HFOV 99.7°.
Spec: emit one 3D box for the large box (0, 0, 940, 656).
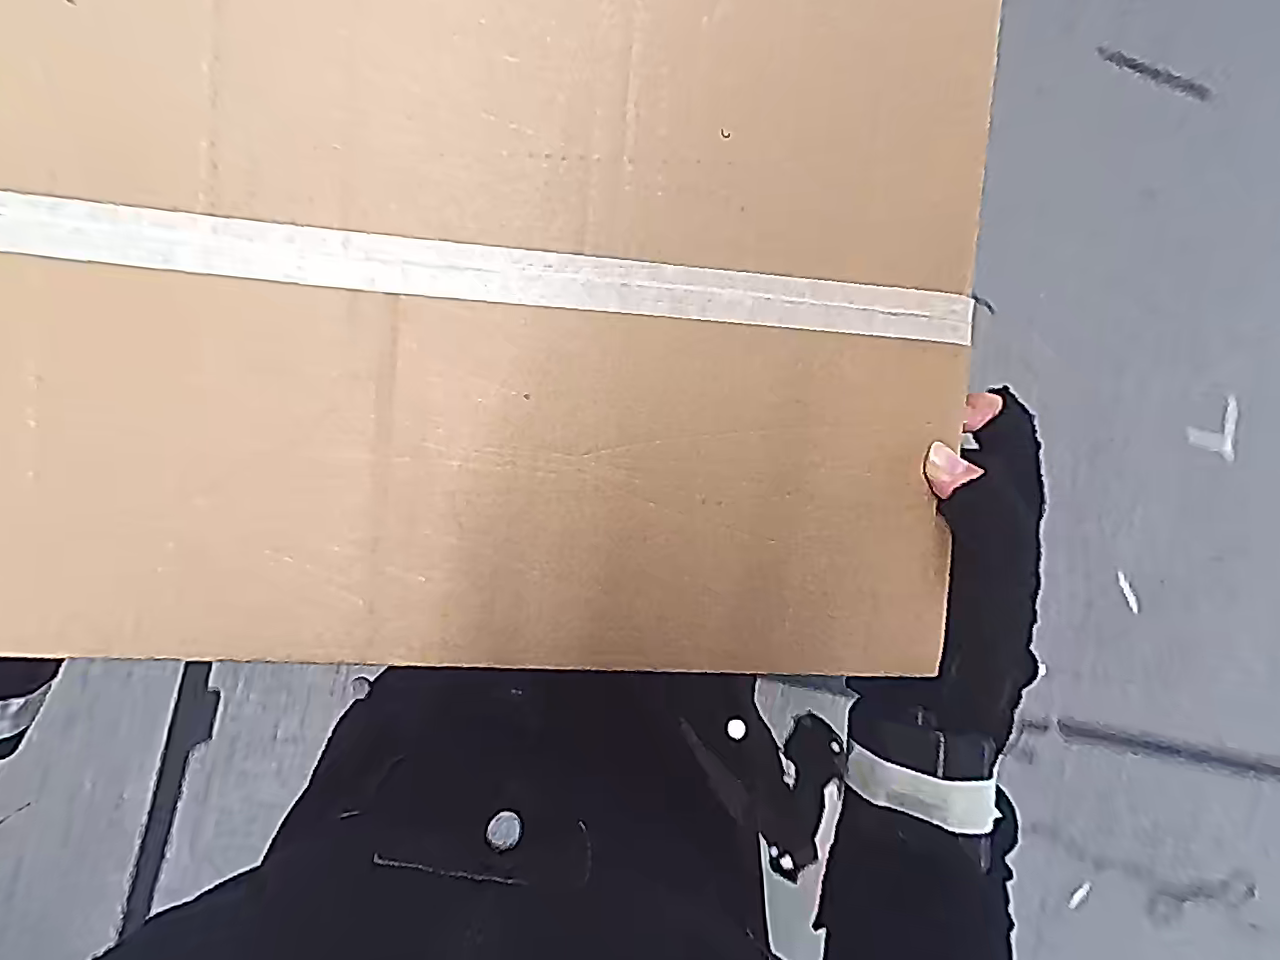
[{"bbox_3d":[-0.083,-0.089,0.372,0.408,0.320,0.320,2,92,-7],"label":"large box"}]
